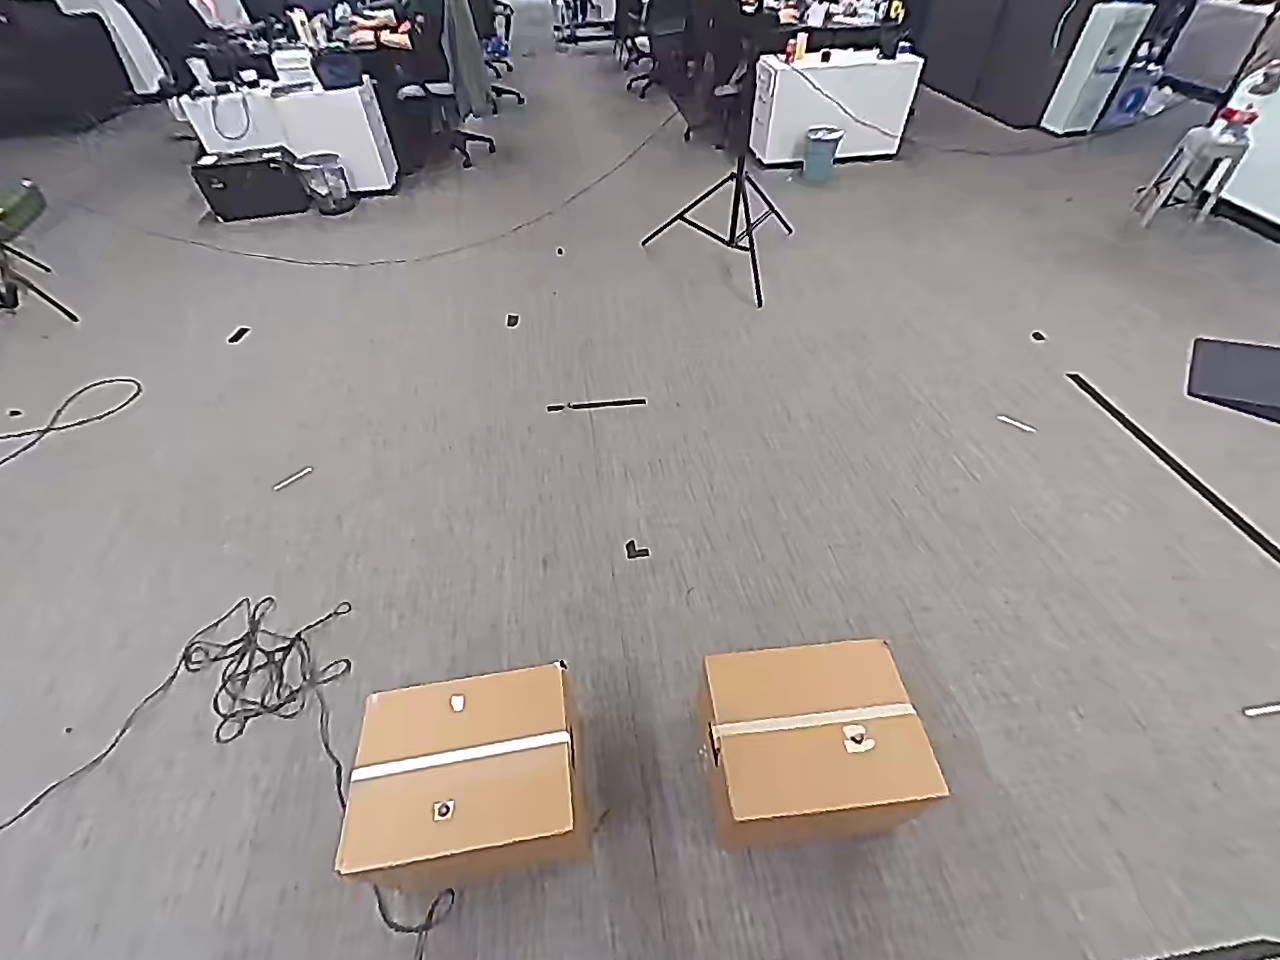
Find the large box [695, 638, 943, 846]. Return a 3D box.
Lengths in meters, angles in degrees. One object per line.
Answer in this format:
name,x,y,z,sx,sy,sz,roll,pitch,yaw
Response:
large box,0.354,0.581,1.198,0.408,0.320,0.320,-4,48,-4
